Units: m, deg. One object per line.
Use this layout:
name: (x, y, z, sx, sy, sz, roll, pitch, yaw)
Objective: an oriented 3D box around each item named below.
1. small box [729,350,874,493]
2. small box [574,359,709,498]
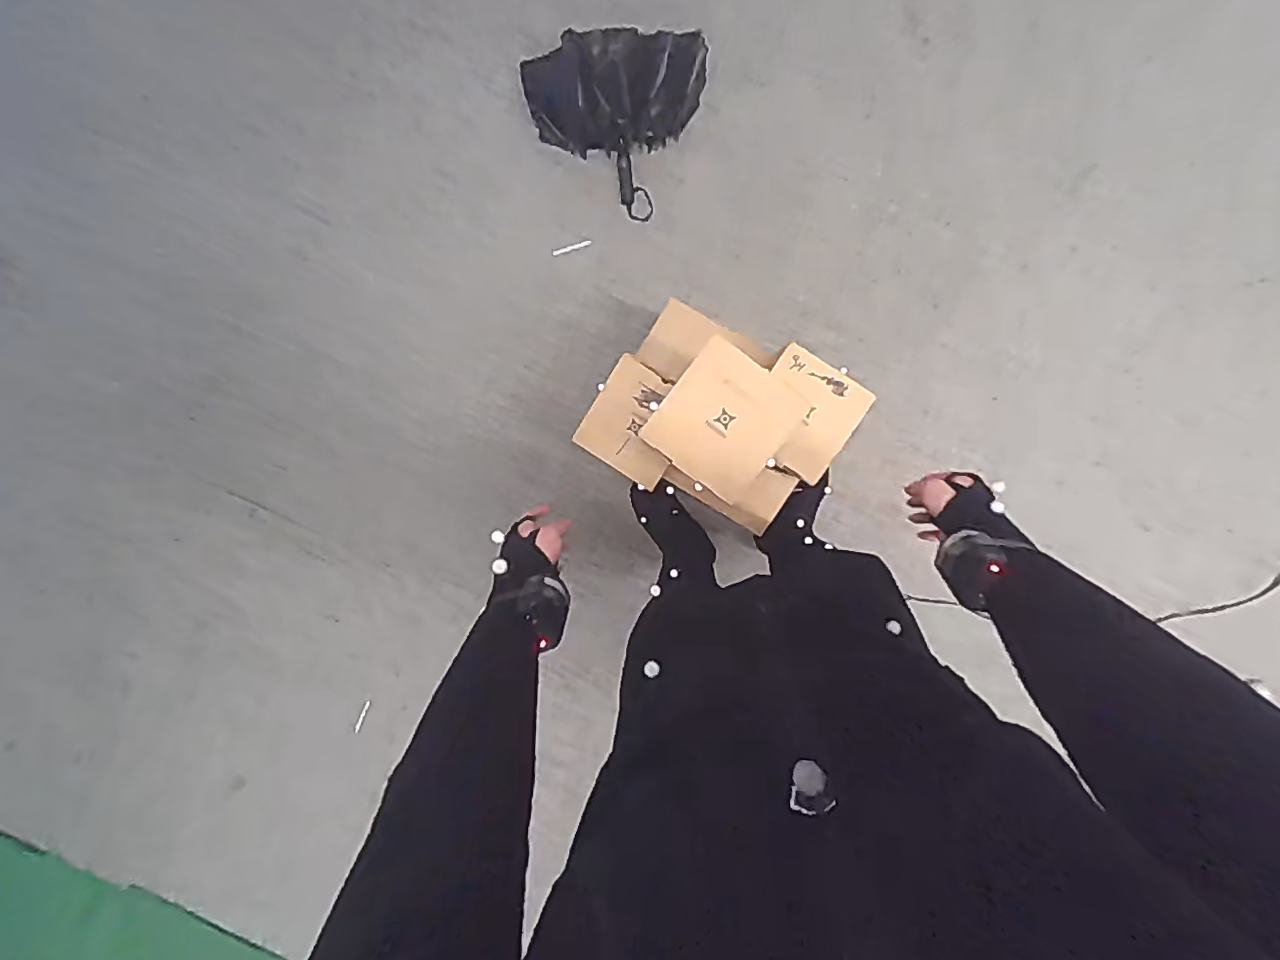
small box: (0.269, -0.099, 0.949, 0.168, 0.176, 0.179, 33, 97, 2)
small box: (0.007, -0.094, 0.973, 0.168, 0.176, 0.179, 34, 100, 1)
